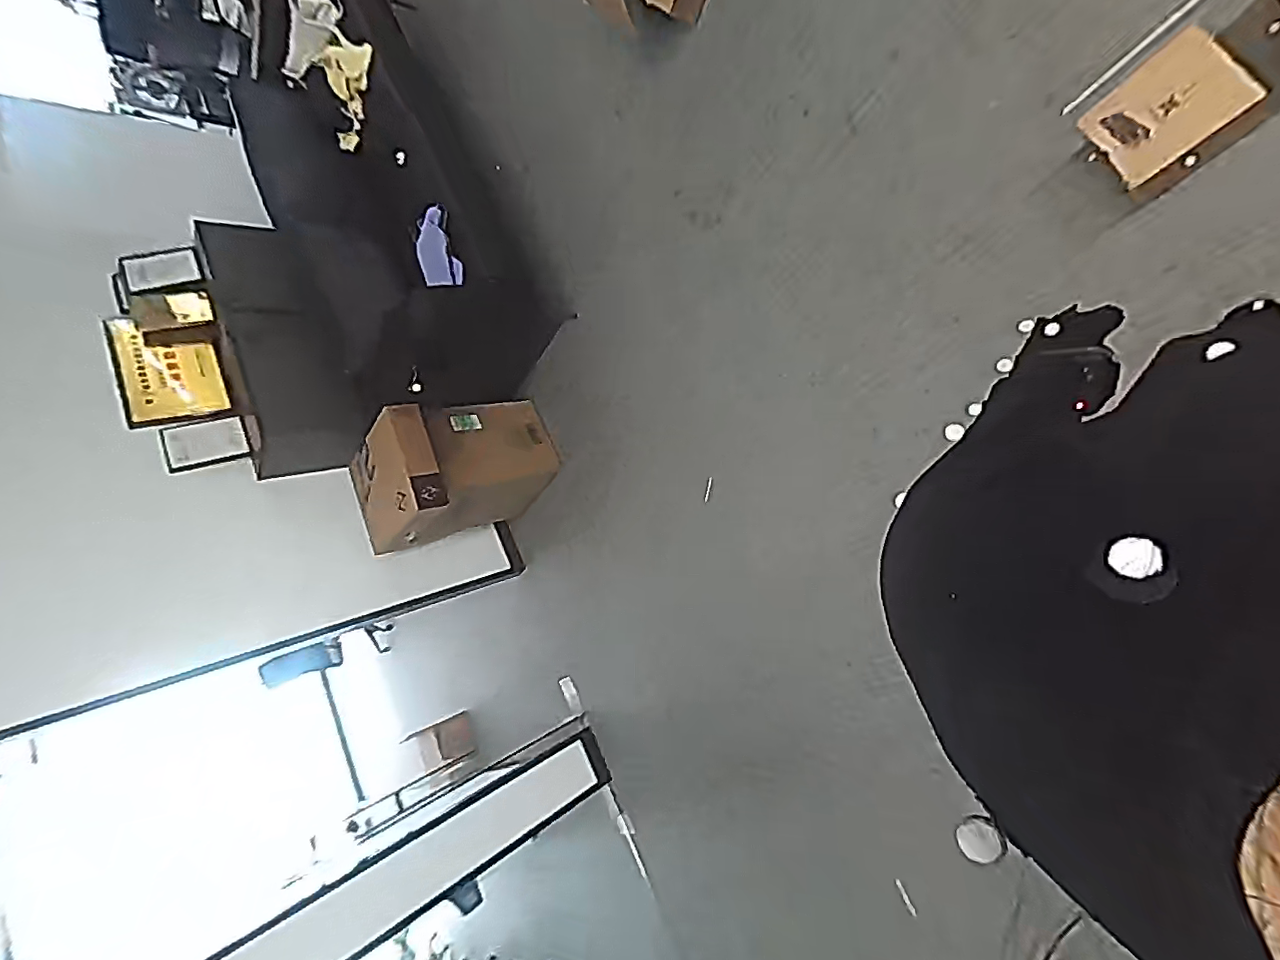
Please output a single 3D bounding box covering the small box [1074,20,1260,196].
[{"bbox_3d":[0.924,-0.636,0.952,0.179,0.176,0.168,-41,70,44],"label":"small box"}]
